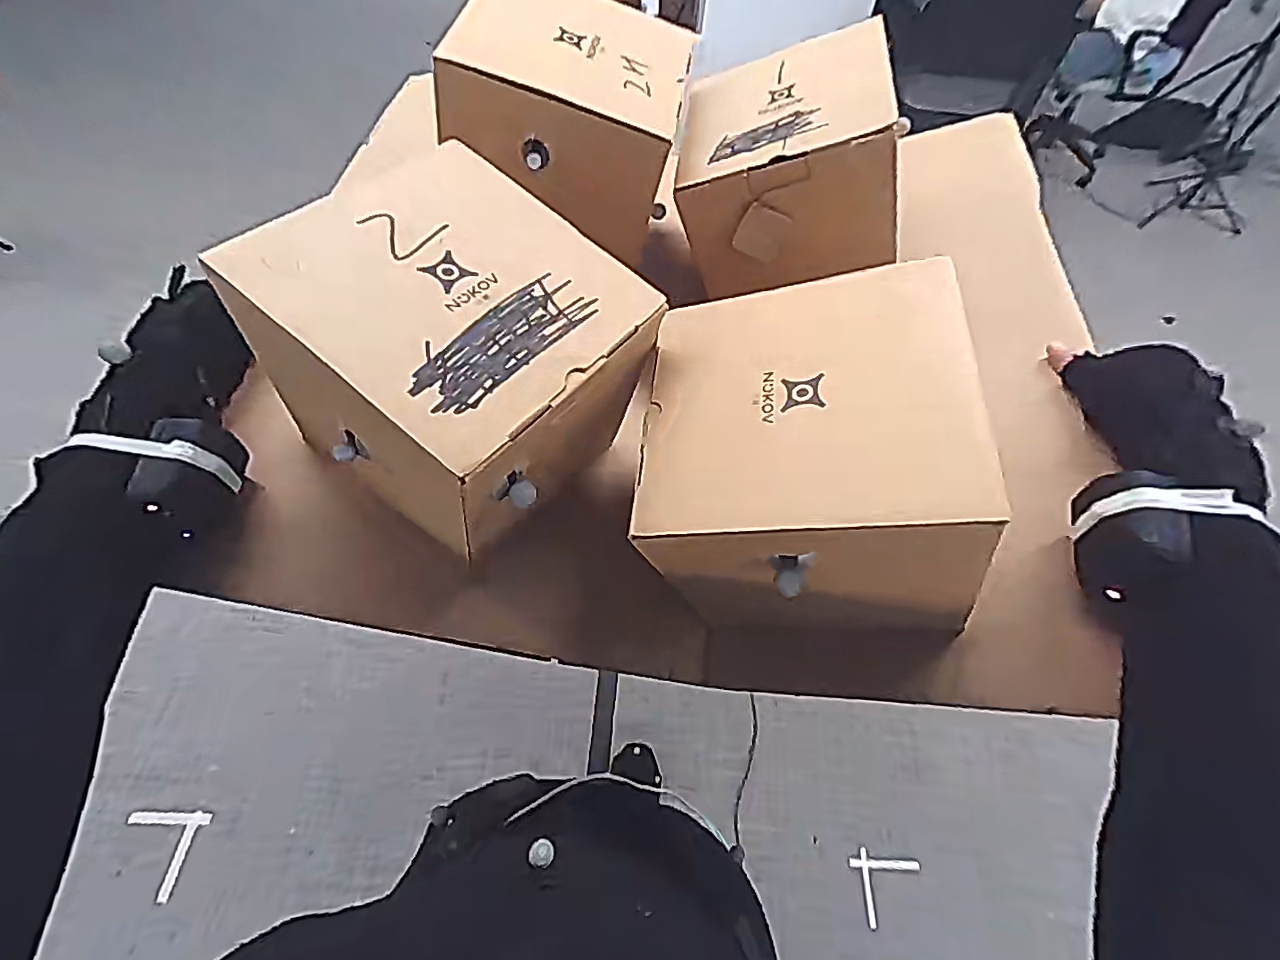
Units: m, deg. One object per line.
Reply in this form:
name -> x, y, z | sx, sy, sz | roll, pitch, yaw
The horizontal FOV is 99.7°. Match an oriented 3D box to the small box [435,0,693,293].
small box -> -0.068, -0.303, 0.495 | 0.179, 0.176, 0.168 | 15, 61, -9
